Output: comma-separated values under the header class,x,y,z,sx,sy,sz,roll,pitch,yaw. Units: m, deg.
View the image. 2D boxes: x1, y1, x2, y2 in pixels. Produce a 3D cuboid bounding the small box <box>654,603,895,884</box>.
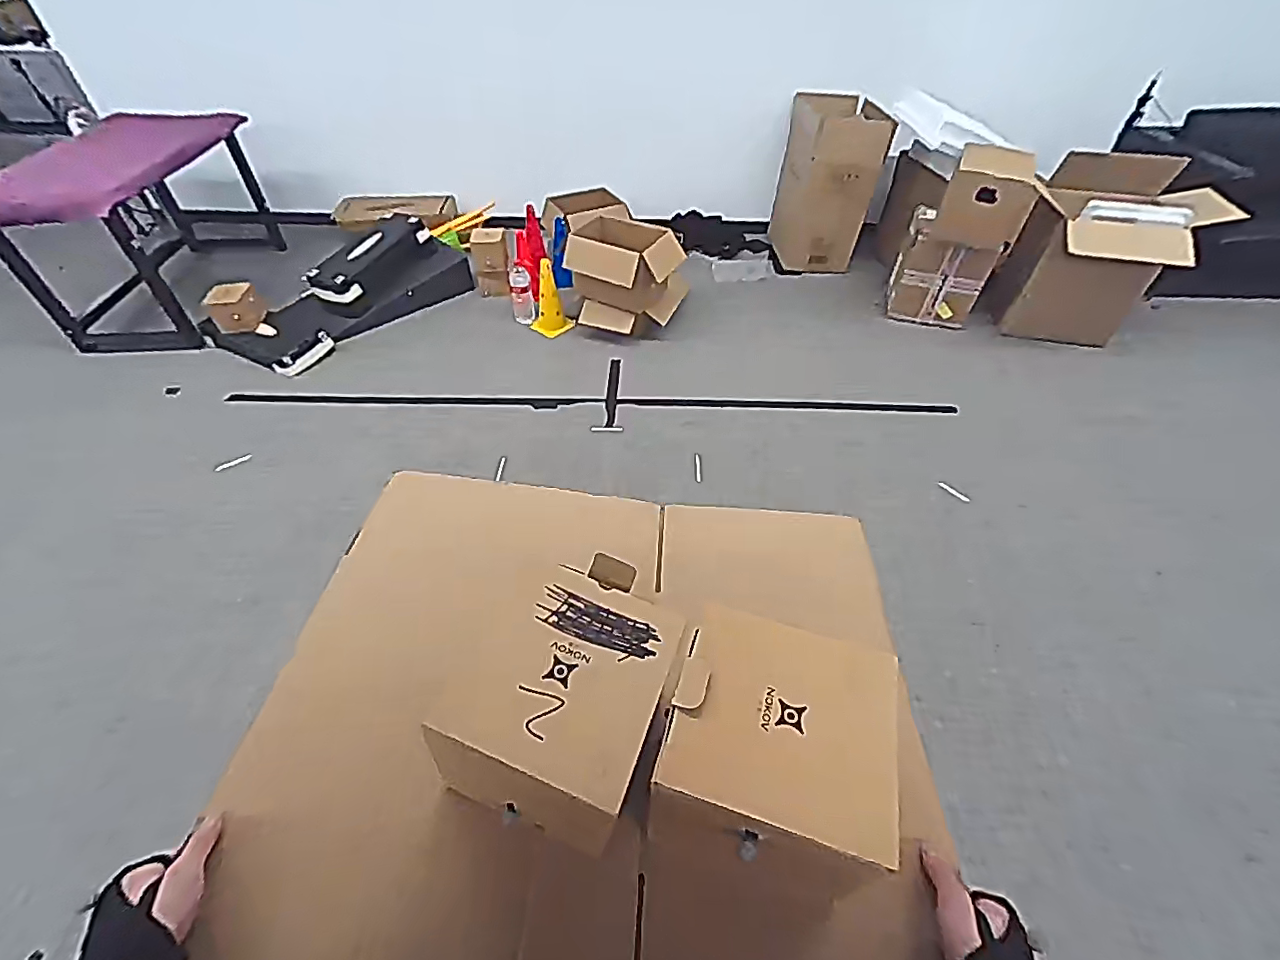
class,x,y,z,sx,sy,sz,roll,pitch,yaw
small box,0.119,0.247,0.504,0.179,0.176,0.168,13,47,13
